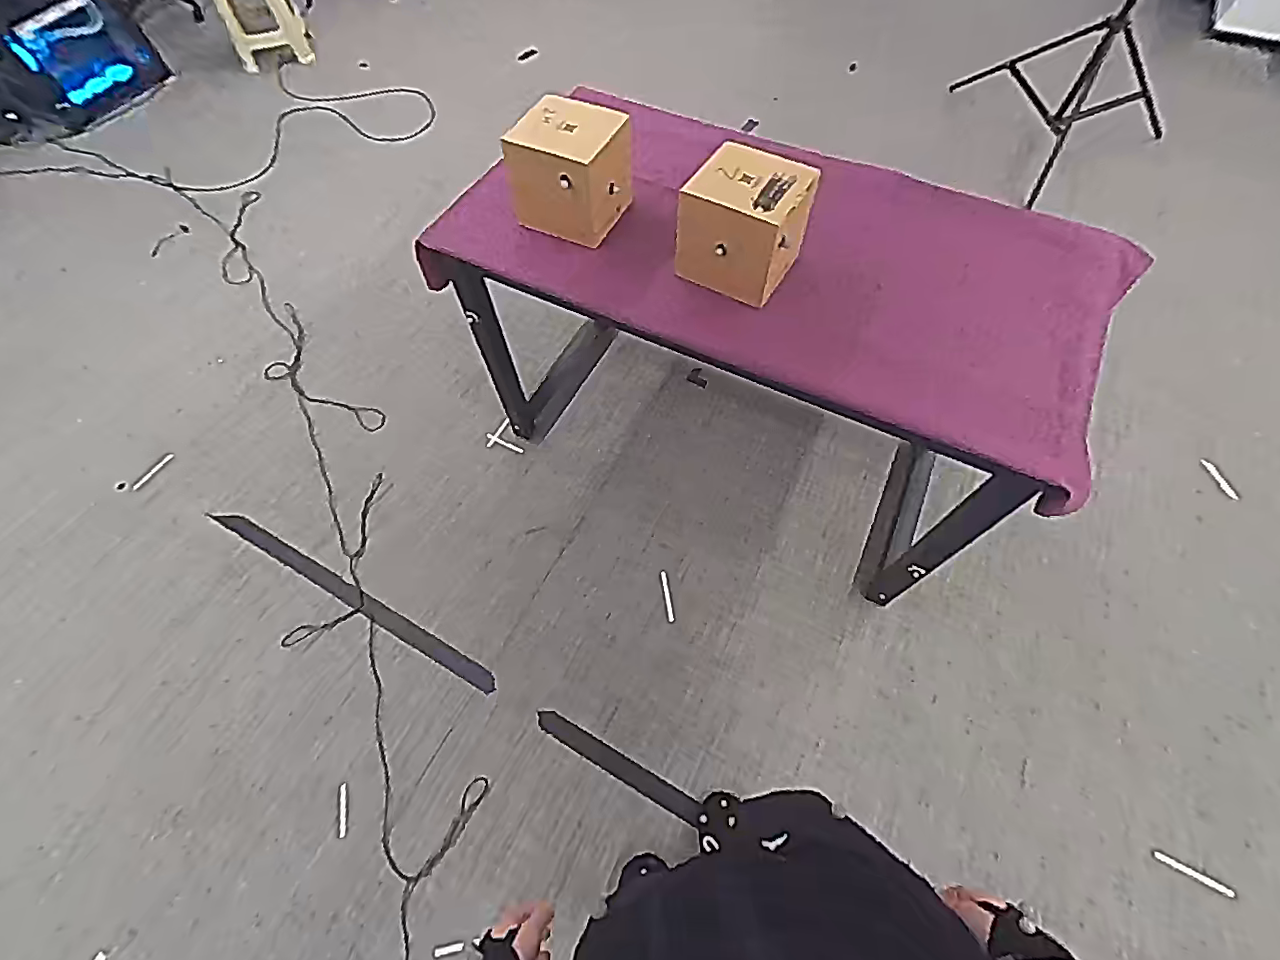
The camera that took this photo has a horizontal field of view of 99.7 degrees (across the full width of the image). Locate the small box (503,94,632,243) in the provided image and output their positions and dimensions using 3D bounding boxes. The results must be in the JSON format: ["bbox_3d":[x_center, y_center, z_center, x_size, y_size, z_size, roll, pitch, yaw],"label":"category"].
[{"bbox_3d":[-0.125,-0.578,1.017,0.179,0.176,0.168,22,63,13],"label":"small box"}]
